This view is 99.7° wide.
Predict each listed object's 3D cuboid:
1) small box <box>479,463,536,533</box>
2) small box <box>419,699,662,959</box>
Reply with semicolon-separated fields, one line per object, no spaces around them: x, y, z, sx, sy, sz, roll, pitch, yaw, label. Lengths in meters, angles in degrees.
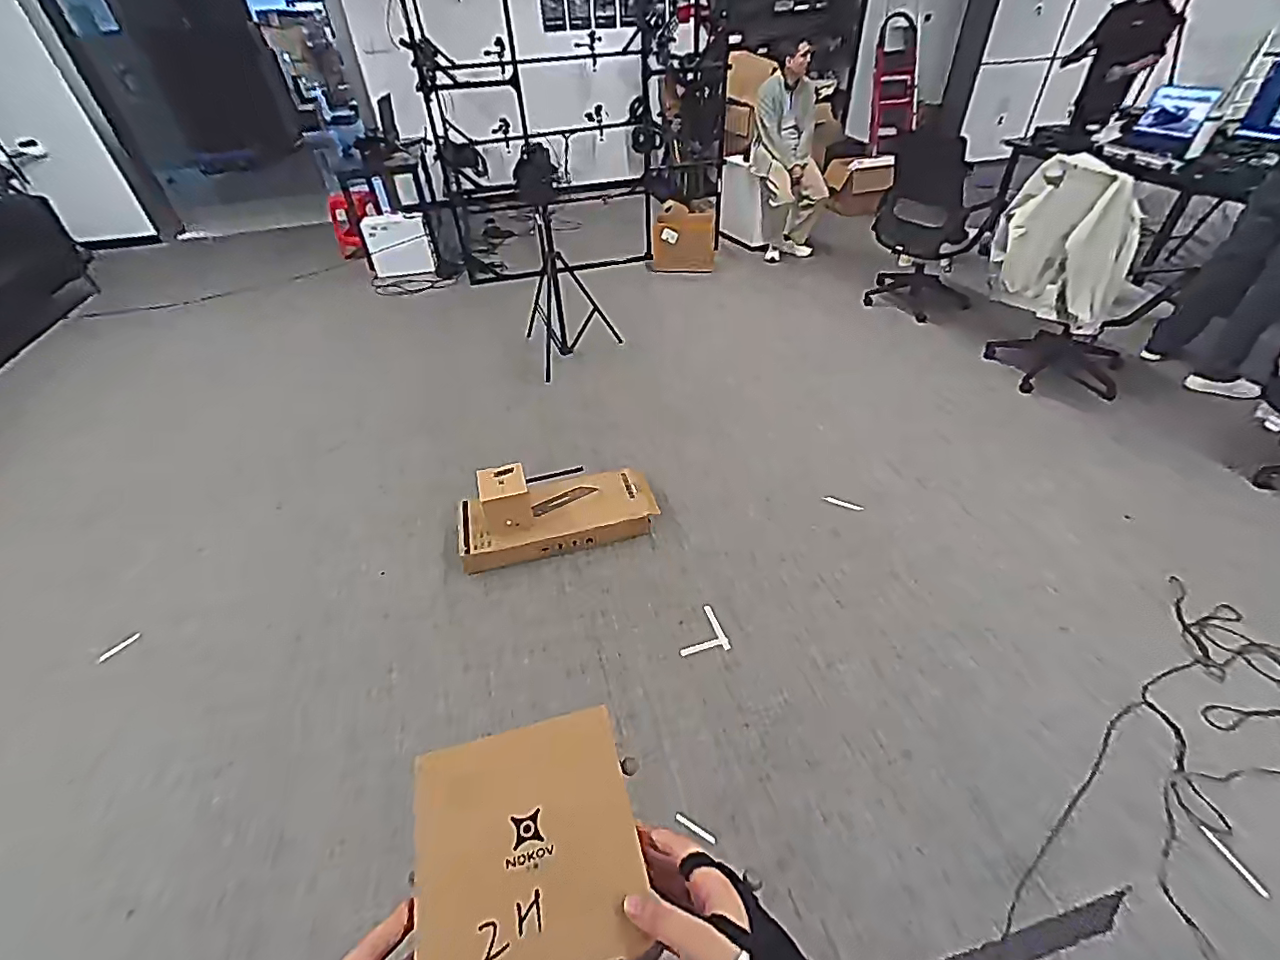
-0.489;0.067;1.996;0.168;0.176;0.179;-13;42;-11;small box
-0.086;0.328;0.474;0.168;0.176;0.179;-12;46;-12;small box
